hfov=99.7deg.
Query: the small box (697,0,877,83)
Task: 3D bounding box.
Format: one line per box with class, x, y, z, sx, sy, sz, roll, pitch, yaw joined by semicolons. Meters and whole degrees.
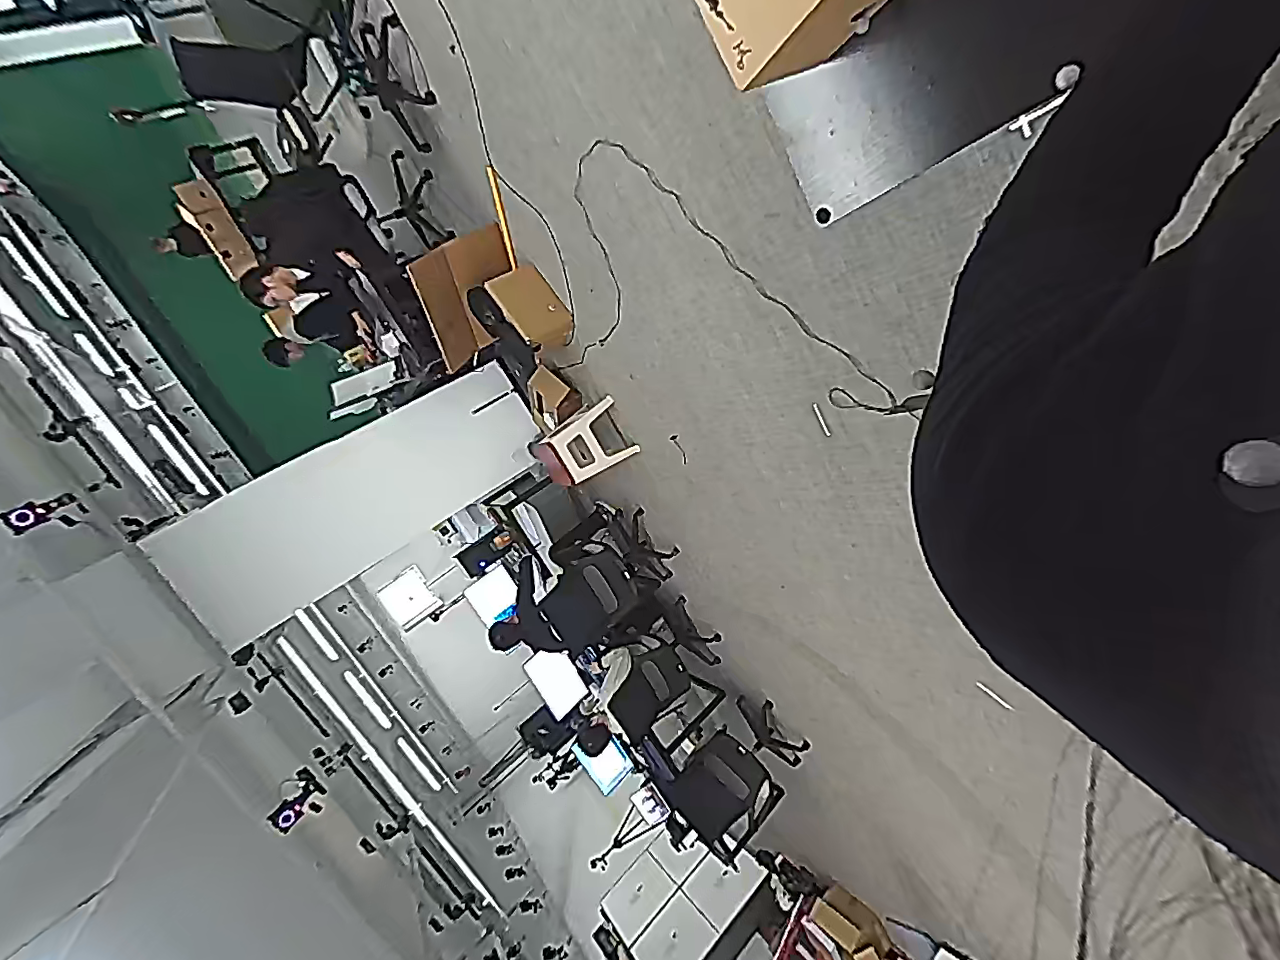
small box;0.172;-0.580;0.577;0.168;0.176;0.179;60;153;-11
